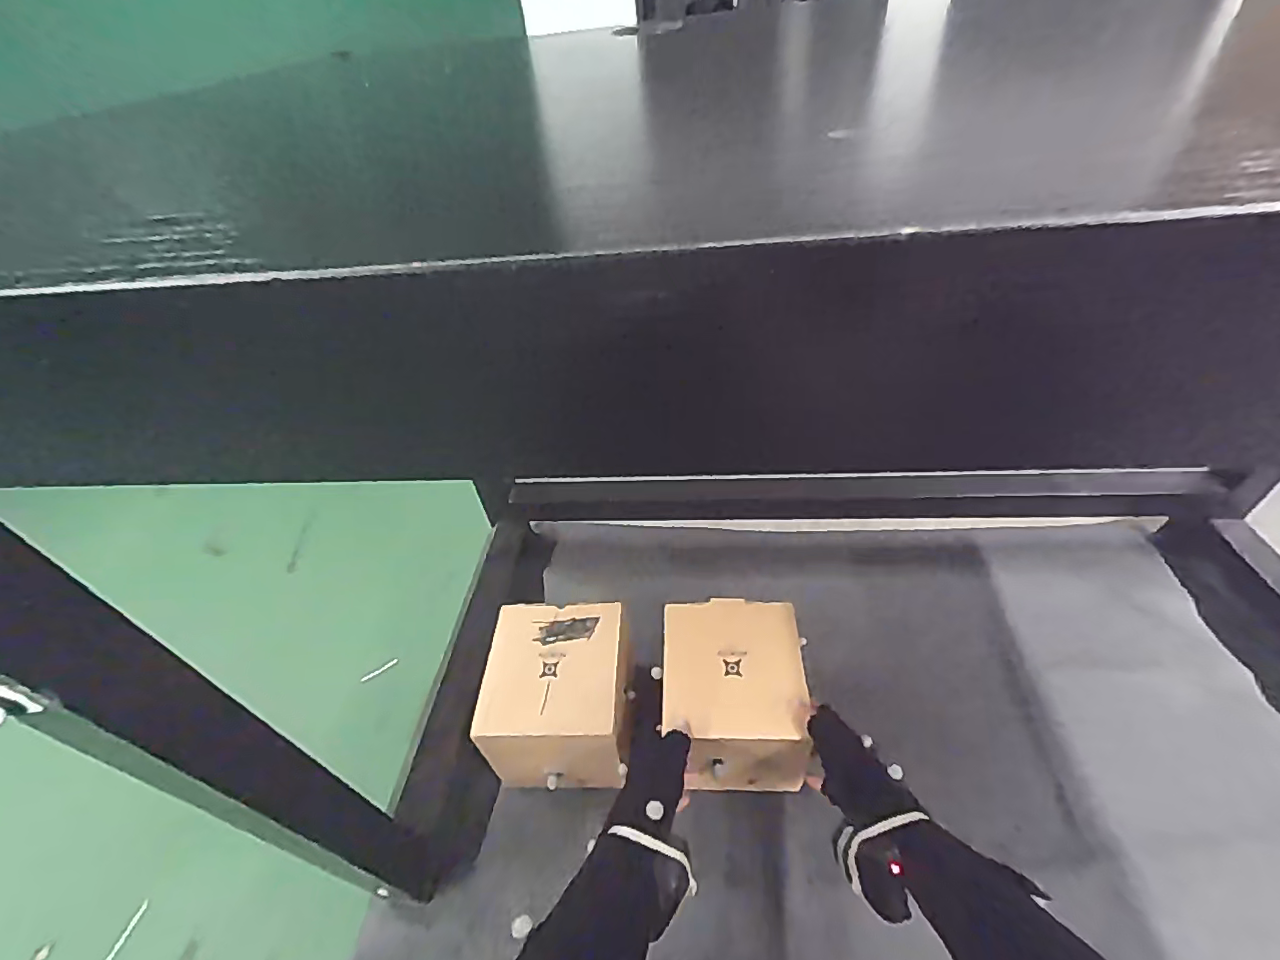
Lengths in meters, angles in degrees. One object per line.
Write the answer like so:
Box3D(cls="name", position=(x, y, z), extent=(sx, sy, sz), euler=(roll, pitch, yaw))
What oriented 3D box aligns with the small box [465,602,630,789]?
Box3D(cls="small box", position=(-0.106, 0.282, 0.715), extent=(0.168, 0.176, 0.179), euler=(-2, 42, 6))
